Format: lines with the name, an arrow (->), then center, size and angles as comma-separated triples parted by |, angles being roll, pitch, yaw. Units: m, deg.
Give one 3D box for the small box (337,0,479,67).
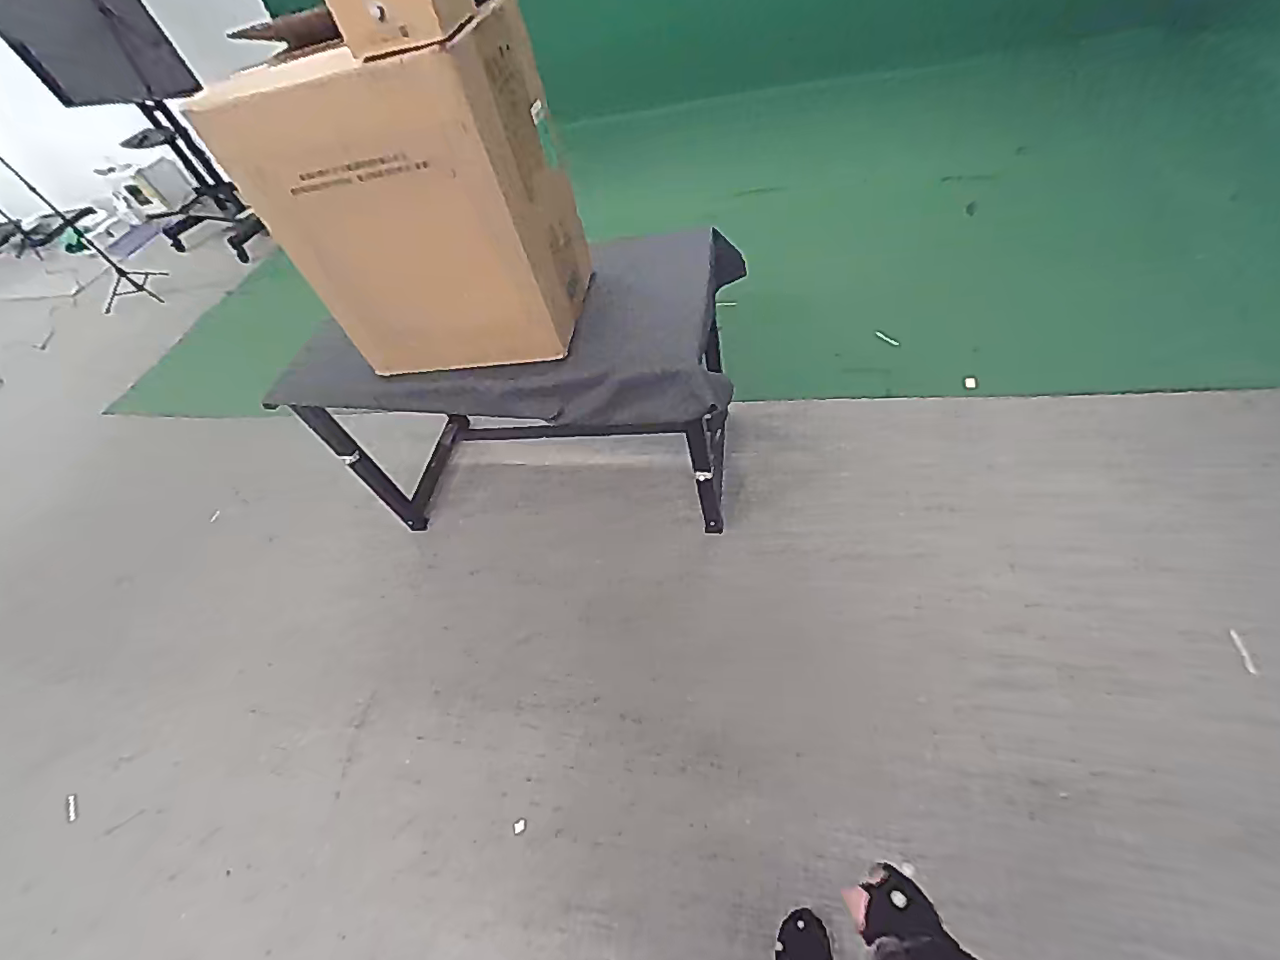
small box -> -0.375, -0.786, 0.852 | 0.168, 0.176, 0.179 | -2, 53, 13
